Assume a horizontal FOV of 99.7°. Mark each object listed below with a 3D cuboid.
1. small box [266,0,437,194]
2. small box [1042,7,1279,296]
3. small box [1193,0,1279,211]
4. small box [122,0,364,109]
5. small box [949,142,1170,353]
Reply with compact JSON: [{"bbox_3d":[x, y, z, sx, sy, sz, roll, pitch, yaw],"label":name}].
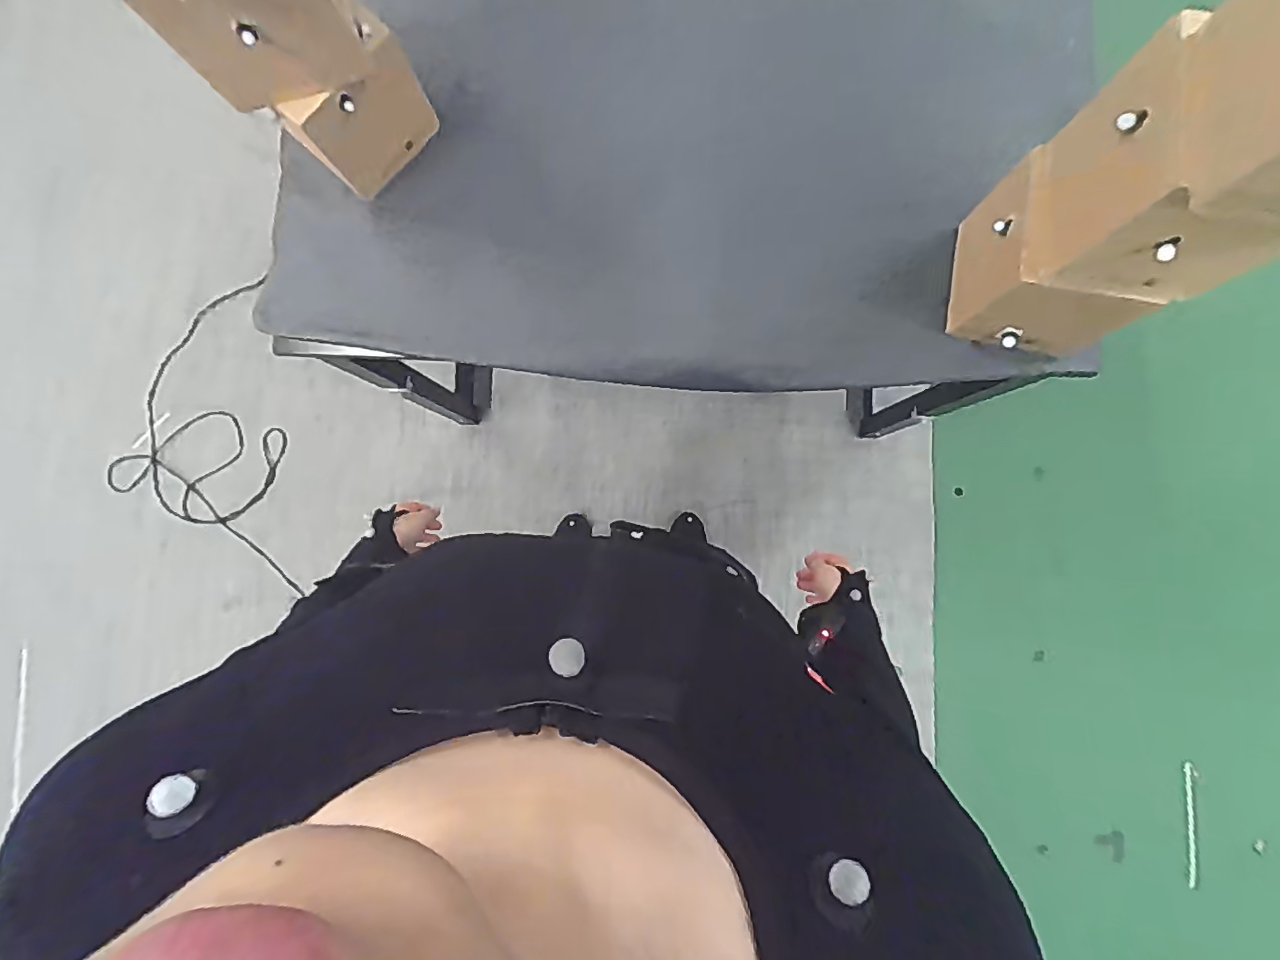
[{"bbox_3d":[-0.419,-0.540,0.739,0.179,0.176,0.168,42,88,3],"label":"small box"},{"bbox_3d":[0.537,-0.304,0.533,0.168,0.176,0.179,8,82,3],"label":"small box"},{"bbox_3d":[0.537,-0.300,0.366,0.168,0.176,0.179,9,82,3],"label":"small box"},{"bbox_3d":[-0.423,-0.545,0.574,0.179,0.176,0.168,-16,87,1],"label":"small box"},{"bbox_3d":[0.527,-0.285,0.694,0.168,0.176,0.179,10,84,4],"label":"small box"}]
